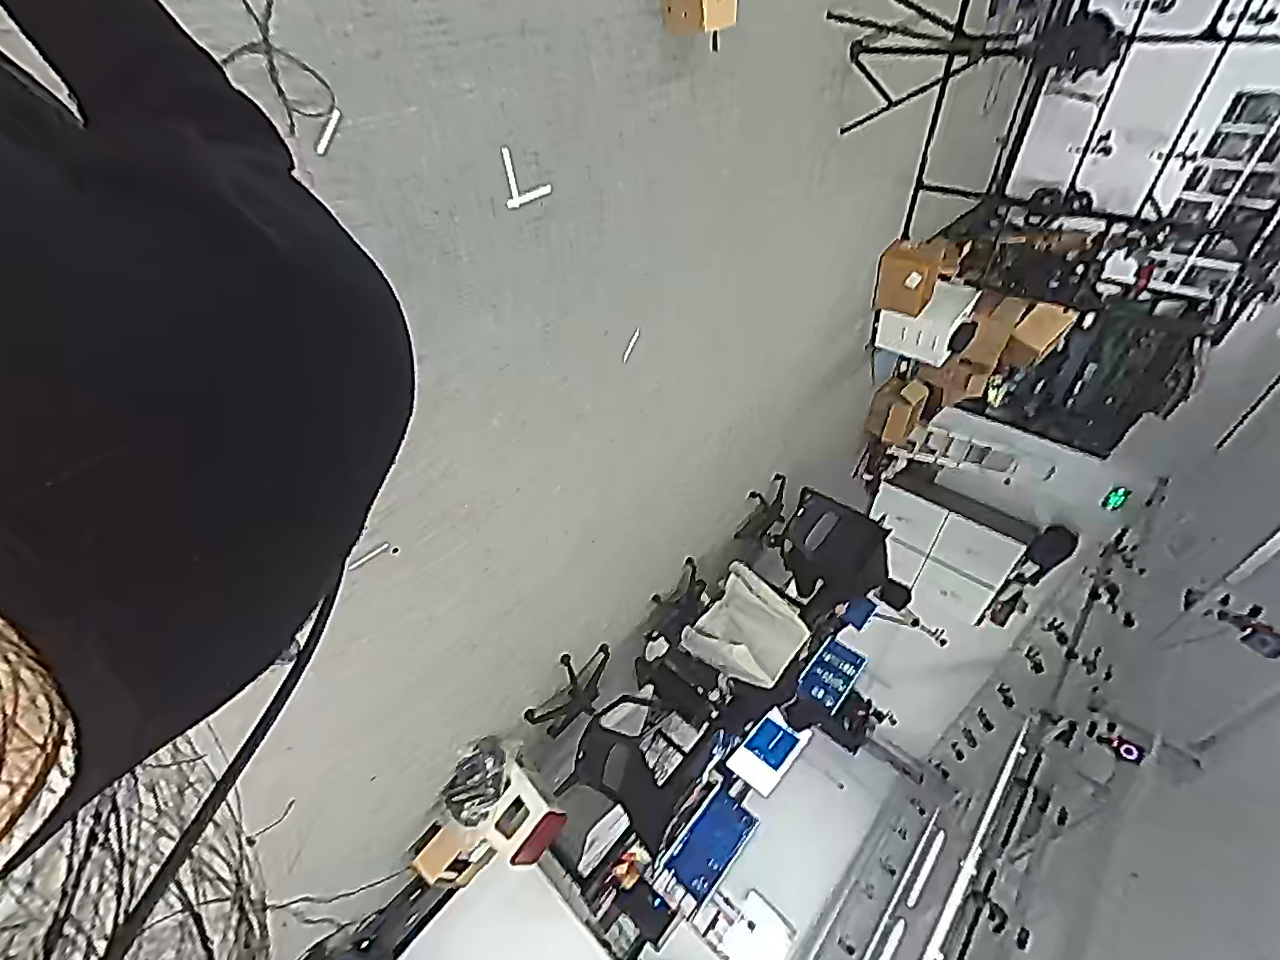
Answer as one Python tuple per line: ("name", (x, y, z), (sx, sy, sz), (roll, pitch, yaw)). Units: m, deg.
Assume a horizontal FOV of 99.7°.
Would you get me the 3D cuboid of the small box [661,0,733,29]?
("small box", (0.178, -1.552, 1.716), (0.179, 0.176, 0.168), (-41, 145, -29))
